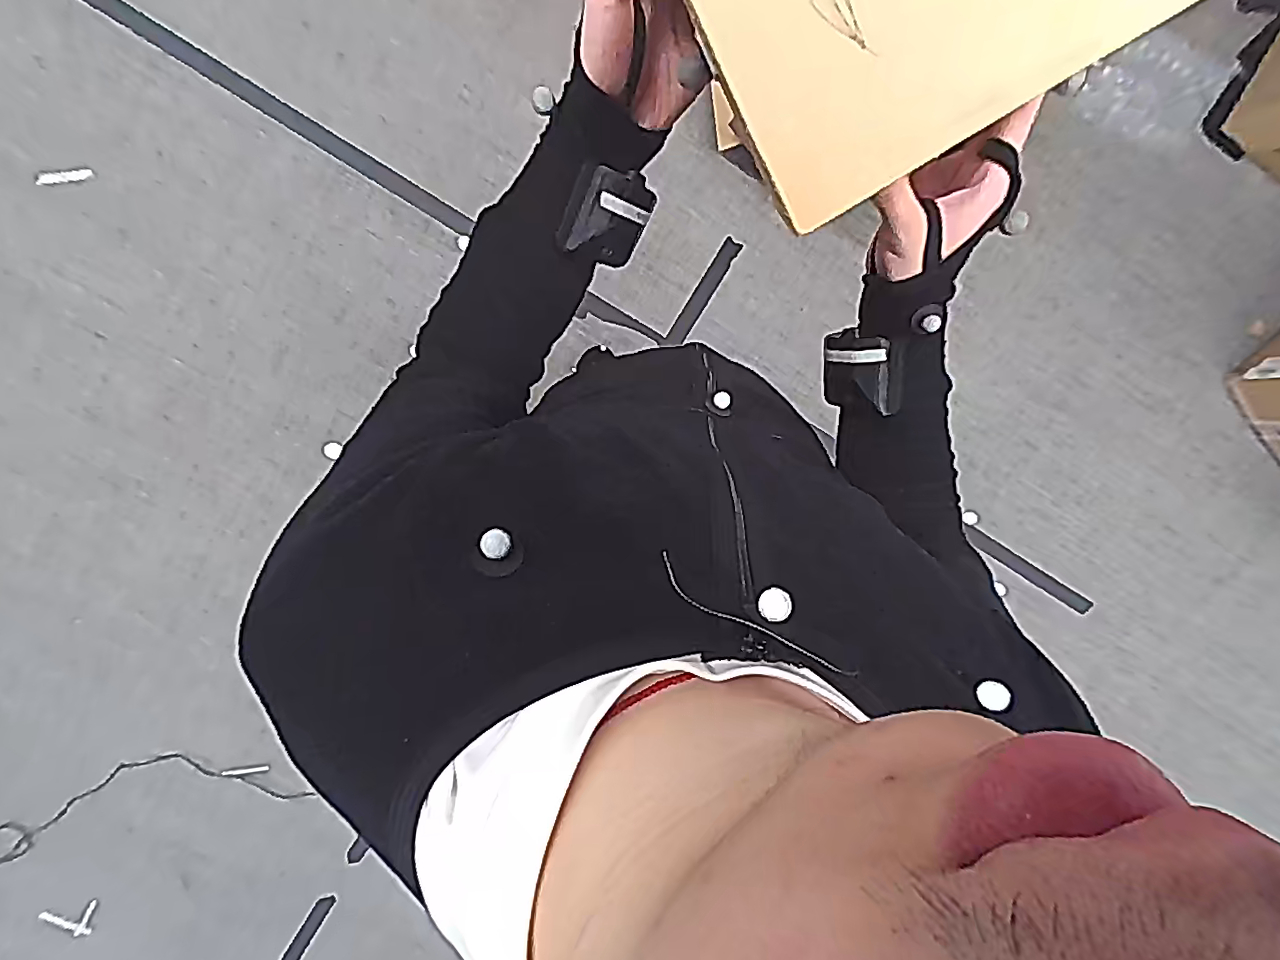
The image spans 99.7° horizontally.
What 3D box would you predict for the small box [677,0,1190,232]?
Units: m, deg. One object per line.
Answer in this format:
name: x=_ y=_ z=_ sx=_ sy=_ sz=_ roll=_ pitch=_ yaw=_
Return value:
small box: x=0.111 y=-0.244 z=0.244 sx=0.179 sy=0.176 sz=0.168 roll=-26 pitch=111 yaw=24
